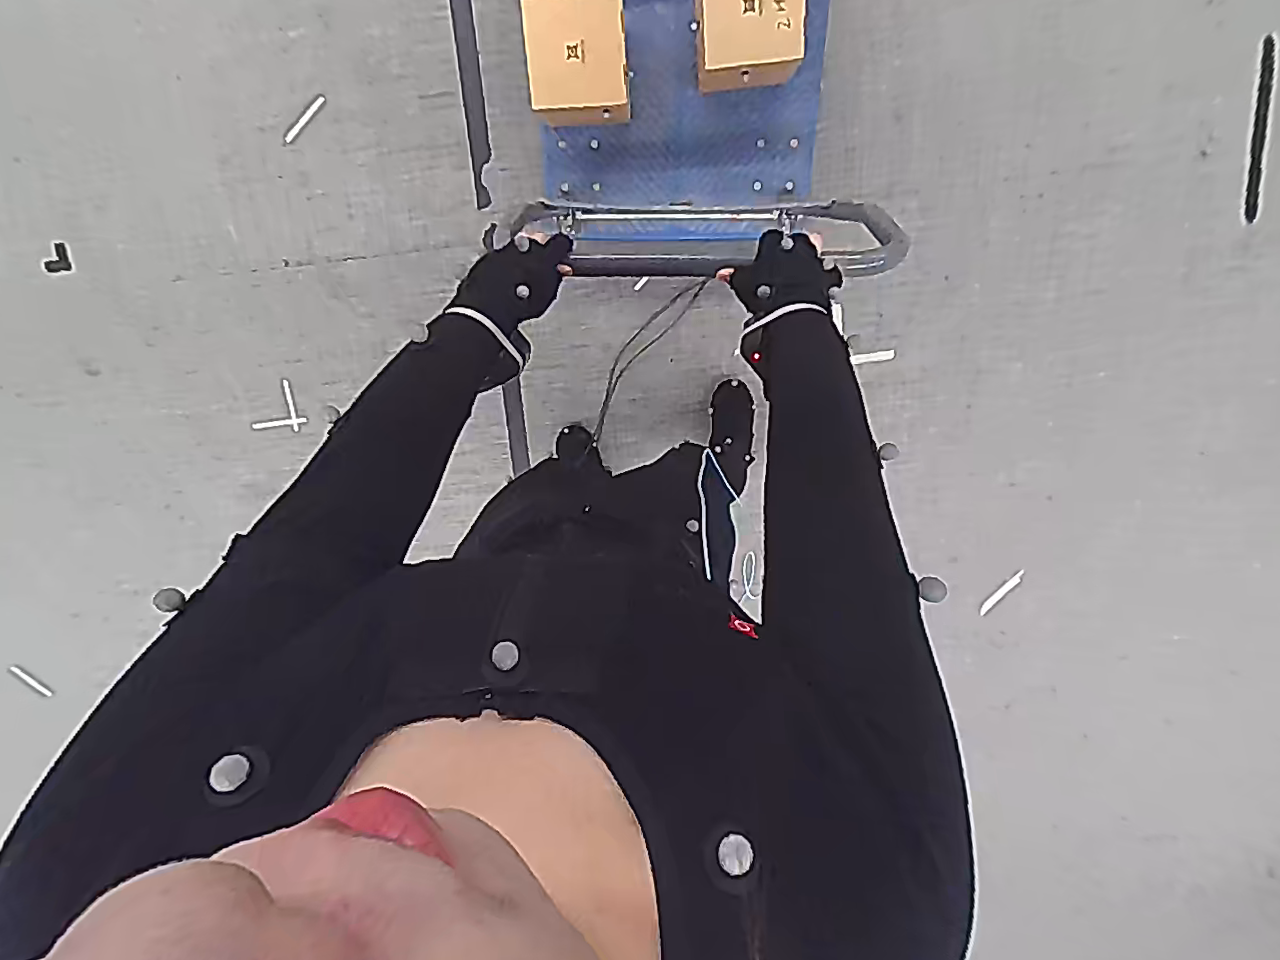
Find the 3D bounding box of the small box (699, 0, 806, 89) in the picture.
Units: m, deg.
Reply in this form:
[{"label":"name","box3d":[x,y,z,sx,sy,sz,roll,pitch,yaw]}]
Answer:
[{"label":"small box","box3d":[0.197,-0.836,0.985,0.179,0.176,0.168,-3,114,4]}]

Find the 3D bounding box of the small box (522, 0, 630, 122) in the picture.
[{"label":"small box","box3d":[-0.111,-0.788,1.018,0.179,0.176,0.168,-2,114,1]}]
